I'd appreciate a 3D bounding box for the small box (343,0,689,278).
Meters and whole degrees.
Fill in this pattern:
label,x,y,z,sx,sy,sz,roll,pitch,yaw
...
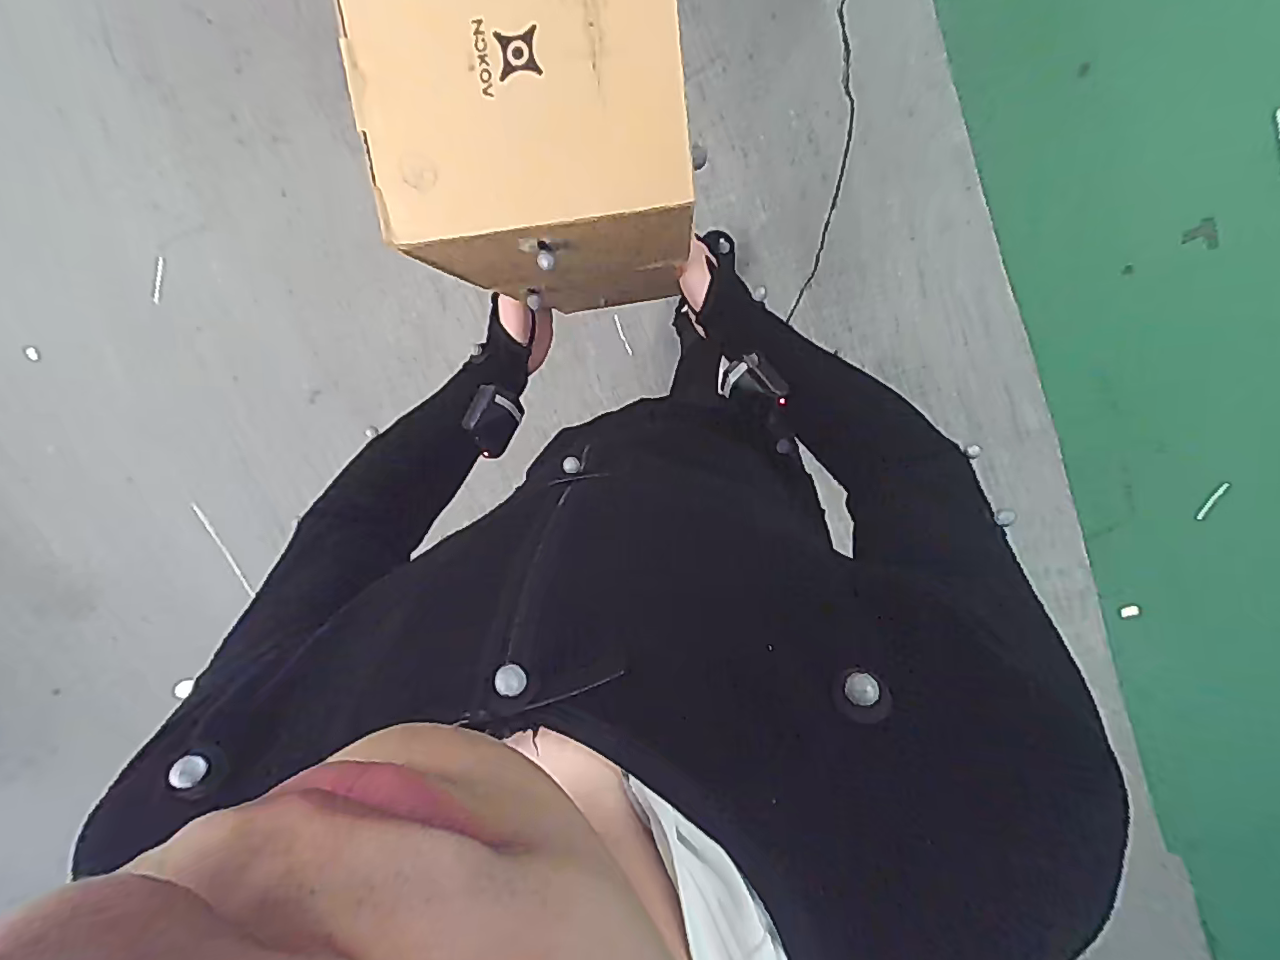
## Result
label,x,y,z,sx,sy,sz,roll,pitch,yaw
small box,-0.060,-0.240,0.361,0.179,0.176,0.168,-5,102,6

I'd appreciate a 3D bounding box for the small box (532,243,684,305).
label,x,y,z,sx,sy,sz,roll,pitch,yaw
small box,-0.039,-0.322,0.677,0.179,0.176,0.168,-7,101,6
